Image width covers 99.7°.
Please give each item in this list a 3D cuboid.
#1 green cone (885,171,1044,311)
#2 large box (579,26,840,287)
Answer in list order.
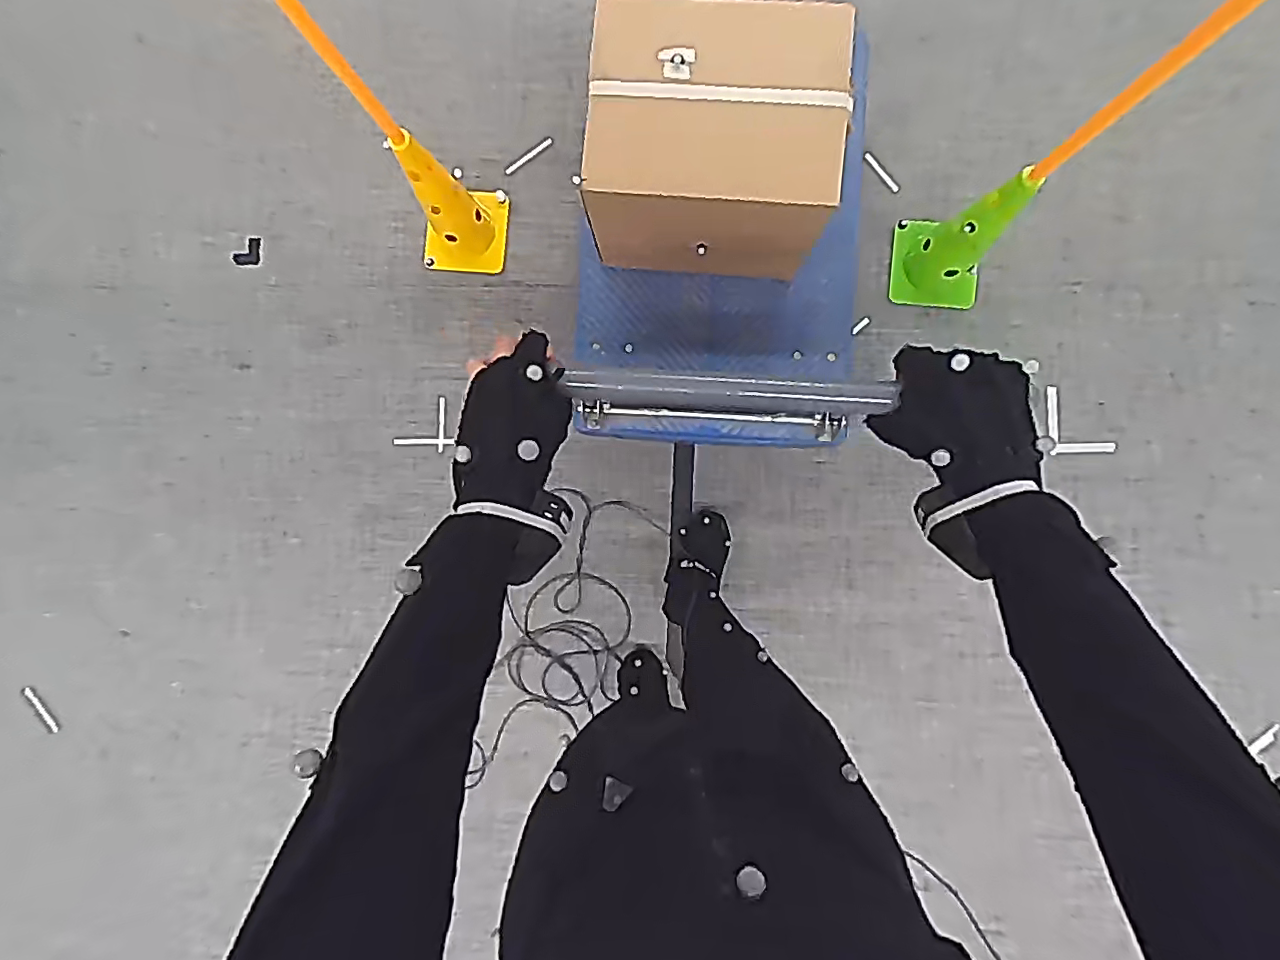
[{"bbox_3d":[0.686,-0.512,1.121,0.202,0.368,0.200,5,89,2],"label":"green cone"},{"bbox_3d":[0.120,-0.570,1.009,0.408,0.320,0.320,5,90,4],"label":"large box"}]
